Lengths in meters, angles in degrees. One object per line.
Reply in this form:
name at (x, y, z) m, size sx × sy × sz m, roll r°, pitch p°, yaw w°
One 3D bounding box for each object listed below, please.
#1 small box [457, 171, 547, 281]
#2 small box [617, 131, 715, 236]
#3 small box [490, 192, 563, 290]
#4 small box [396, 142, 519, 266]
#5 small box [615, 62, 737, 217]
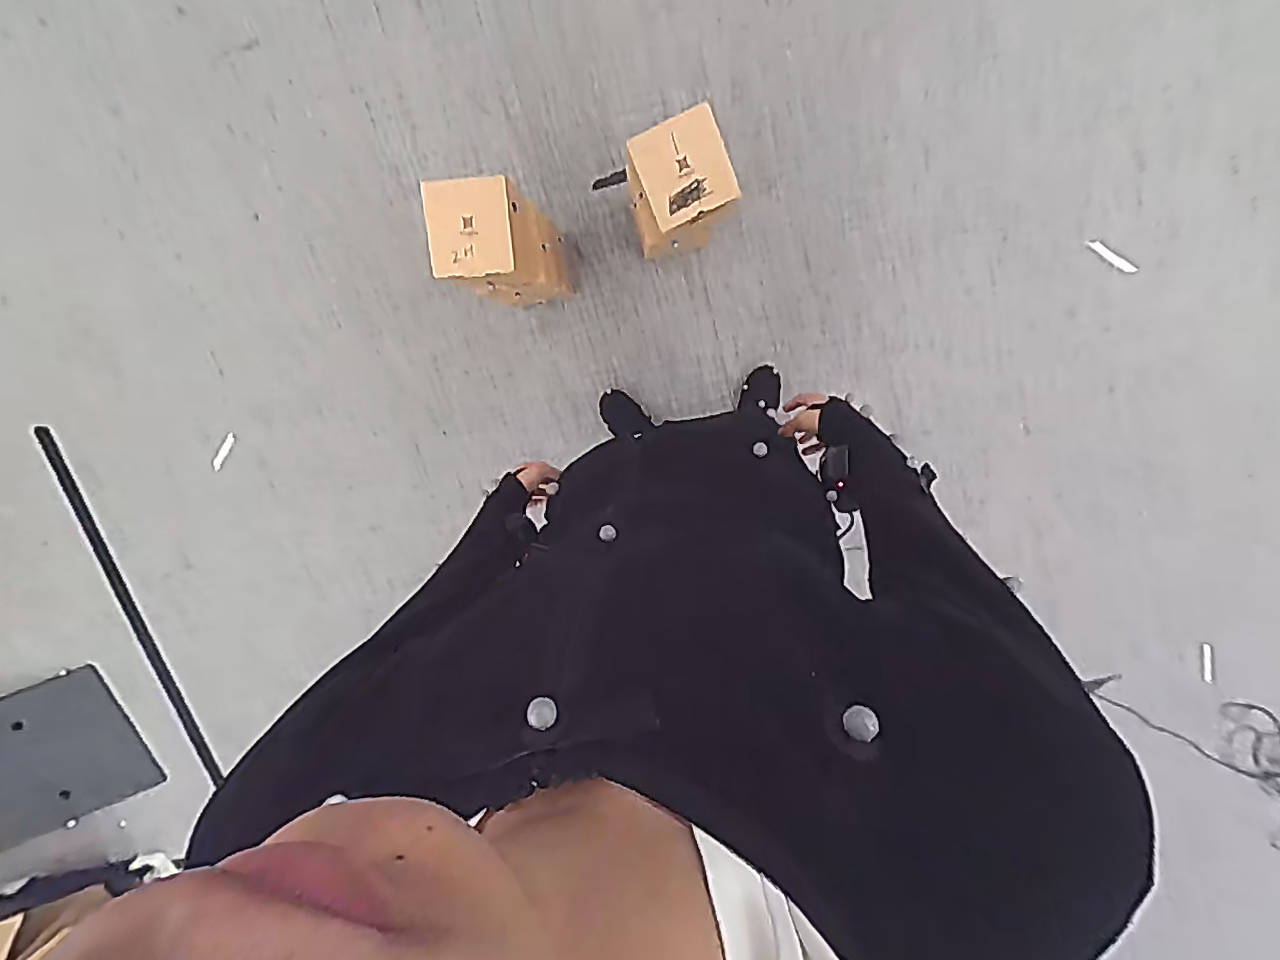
small box at (-0.316, -0.555, 1.201) m, size 0.168 × 0.176 × 0.179 m, roll -9°, pitch 104°, yaw 5°
small box at (0.054, -0.655, 1.166) m, size 0.168 × 0.176 × 0.179 m, roll -15°, pitch 102°, yaw 5°
small box at (-0.301, -0.592, 1.358) m, size 0.168 × 0.176 × 0.179 m, roll -12°, pitch 103°, yaw 5°
small box at (-0.340, -0.521, 1.041) m, size 0.168 × 0.176 × 0.179 m, roll -3°, pitch 104°, yaw 3°
small box at (0.065, -0.613, 1.006) m, size 0.168 × 0.176 × 0.179 m, roll -23°, pitch 103°, yaw 6°
